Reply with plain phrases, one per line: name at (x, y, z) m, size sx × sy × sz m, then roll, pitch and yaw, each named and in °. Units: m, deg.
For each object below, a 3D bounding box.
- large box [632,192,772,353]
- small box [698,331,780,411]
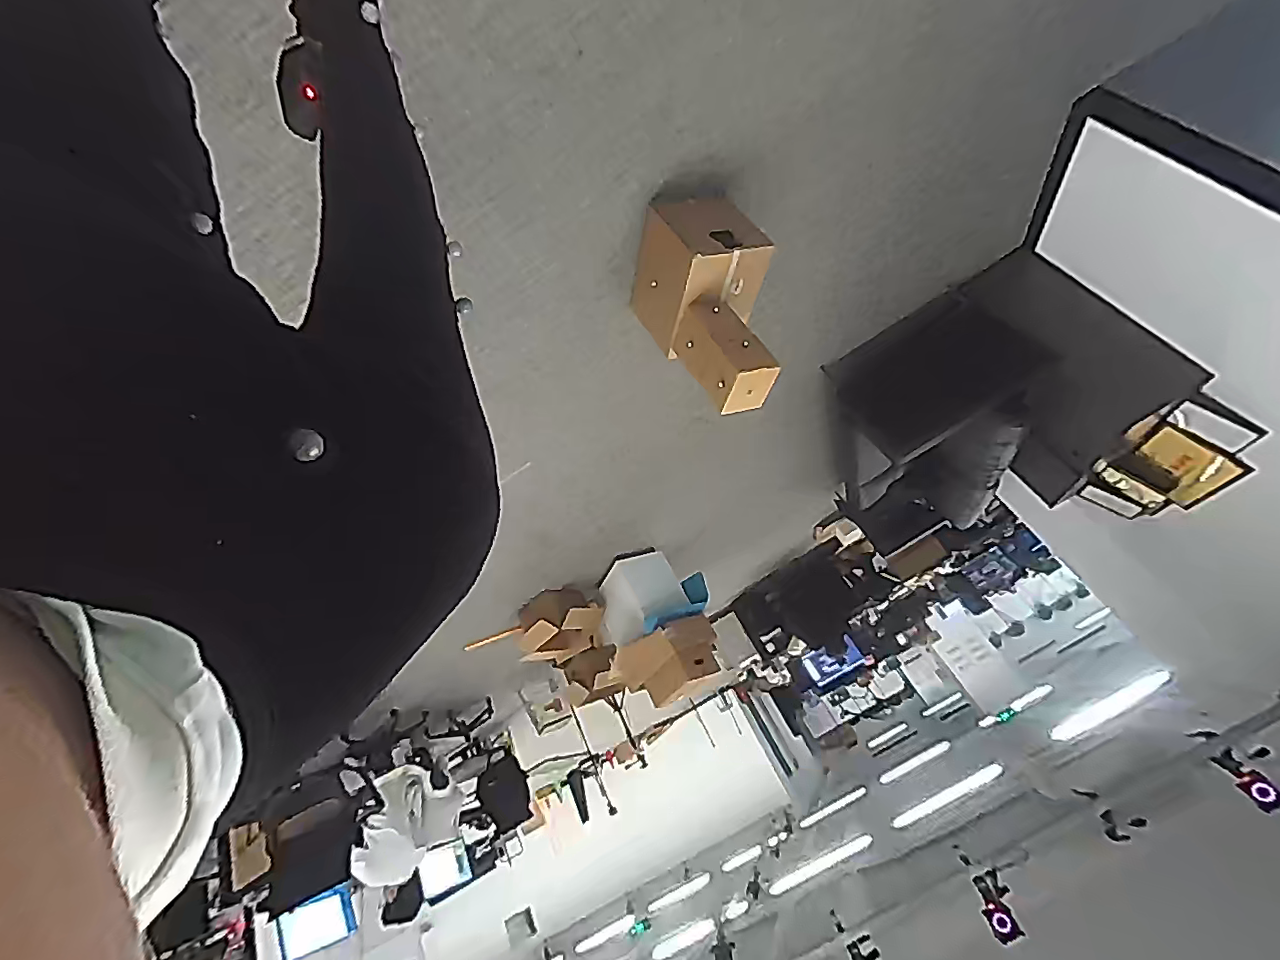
large box at (0.192, -0.716, 1.875) m, size 0.320 × 0.320 × 0.408 m, roll -18°, pitch 149°, yaw -22°
small box at (0.303, -0.347, 1.713) m, size 0.168 × 0.176 × 0.179 m, roll -14°, pitch 147°, yaw -25°
